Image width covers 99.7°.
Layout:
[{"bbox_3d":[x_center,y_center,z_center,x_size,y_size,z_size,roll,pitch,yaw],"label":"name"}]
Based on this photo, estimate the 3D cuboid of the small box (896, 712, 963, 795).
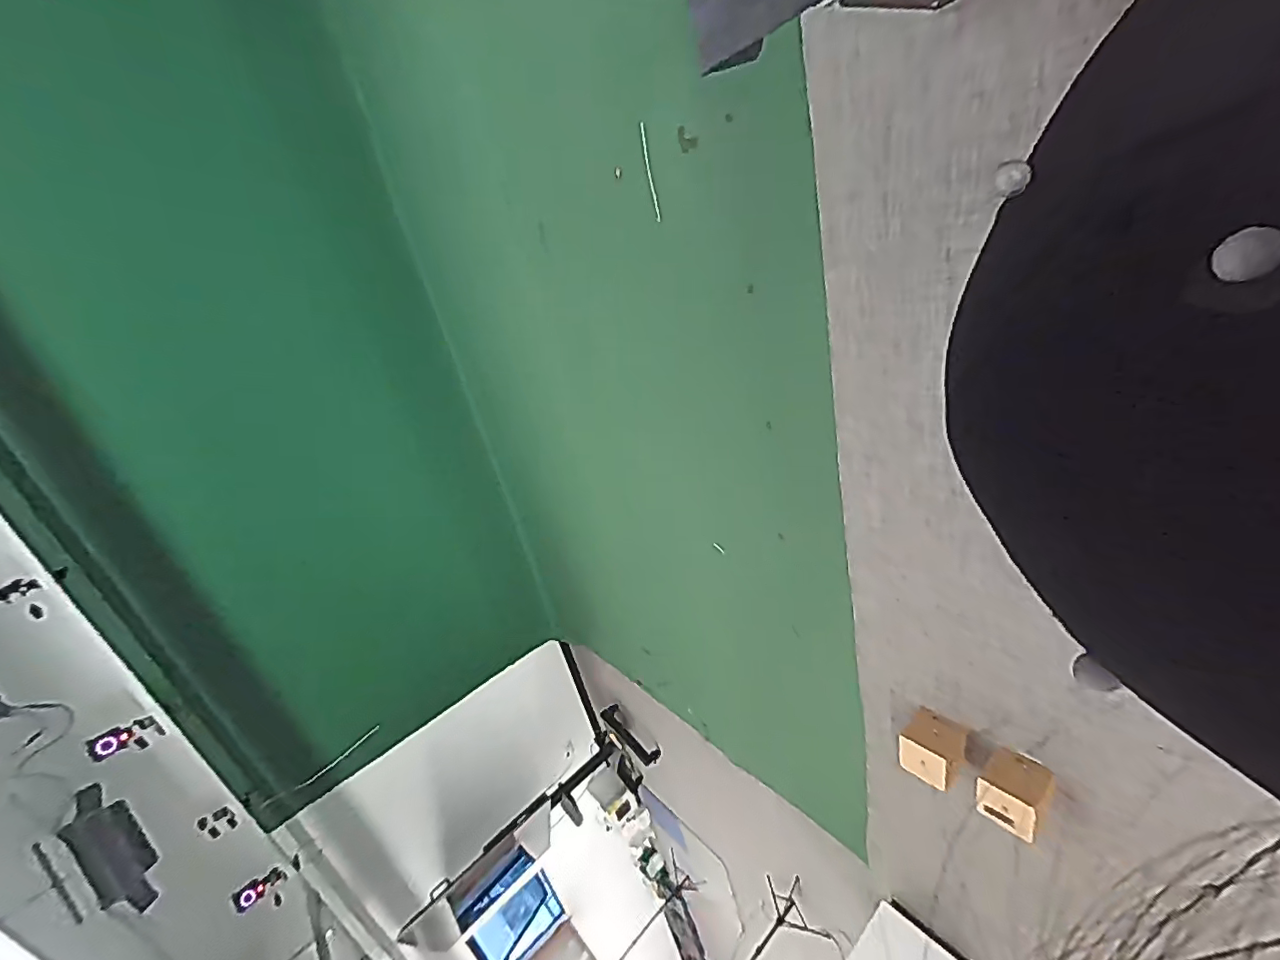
[{"bbox_3d":[1.063,0.996,1.986,0.168,0.176,0.179,18,129,49],"label":"small box"}]
